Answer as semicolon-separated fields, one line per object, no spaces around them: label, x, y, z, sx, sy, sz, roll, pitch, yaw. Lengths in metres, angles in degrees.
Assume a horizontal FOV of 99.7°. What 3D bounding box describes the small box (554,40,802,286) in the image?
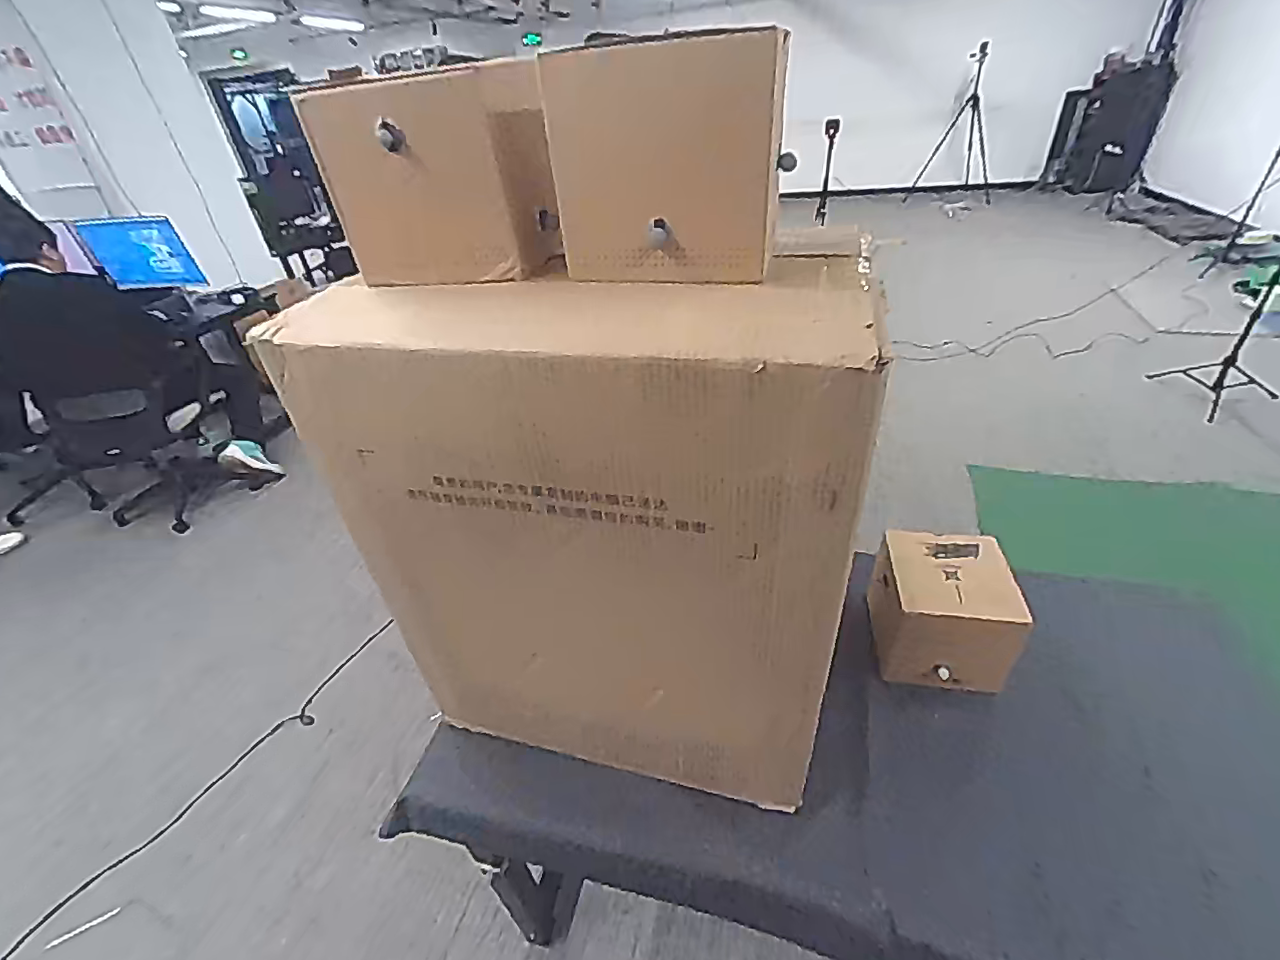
small box;0.044;-0.283;0.489;0.179;0.176;0.168;6;38;14

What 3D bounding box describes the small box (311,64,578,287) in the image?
small box;-0.171;-0.303;0.544;0.179;0.176;0.168;4;40;13
